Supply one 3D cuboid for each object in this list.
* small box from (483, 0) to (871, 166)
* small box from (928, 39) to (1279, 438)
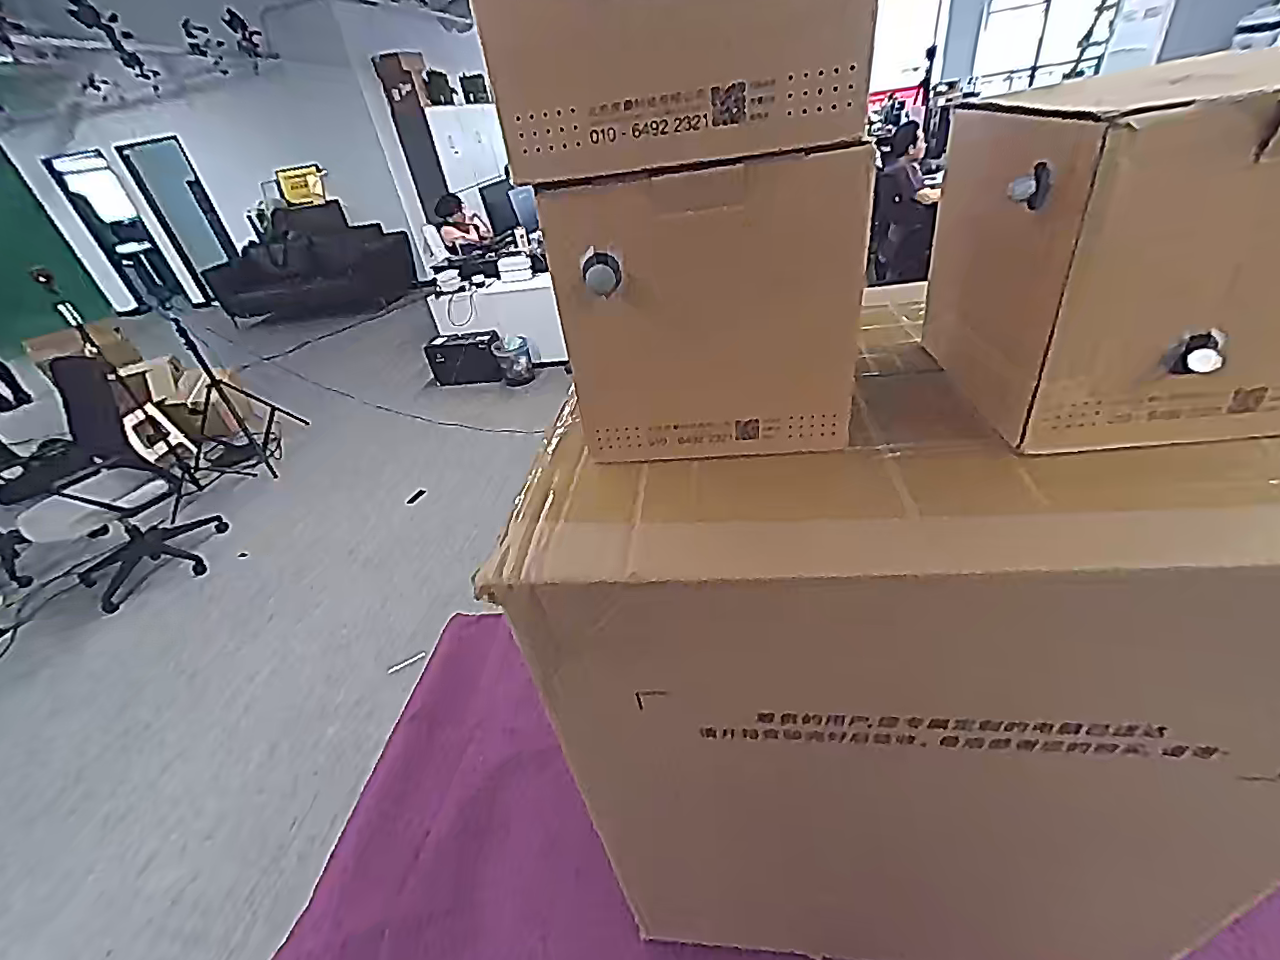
[{"bbox_3d":[0.016,-0.266,0.272,0.168,0.176,0.179,-4,35,6],"label":"small box"},{"bbox_3d":[0.291,-0.142,0.319,0.168,0.176,0.179,-5,35,9],"label":"small box"}]
